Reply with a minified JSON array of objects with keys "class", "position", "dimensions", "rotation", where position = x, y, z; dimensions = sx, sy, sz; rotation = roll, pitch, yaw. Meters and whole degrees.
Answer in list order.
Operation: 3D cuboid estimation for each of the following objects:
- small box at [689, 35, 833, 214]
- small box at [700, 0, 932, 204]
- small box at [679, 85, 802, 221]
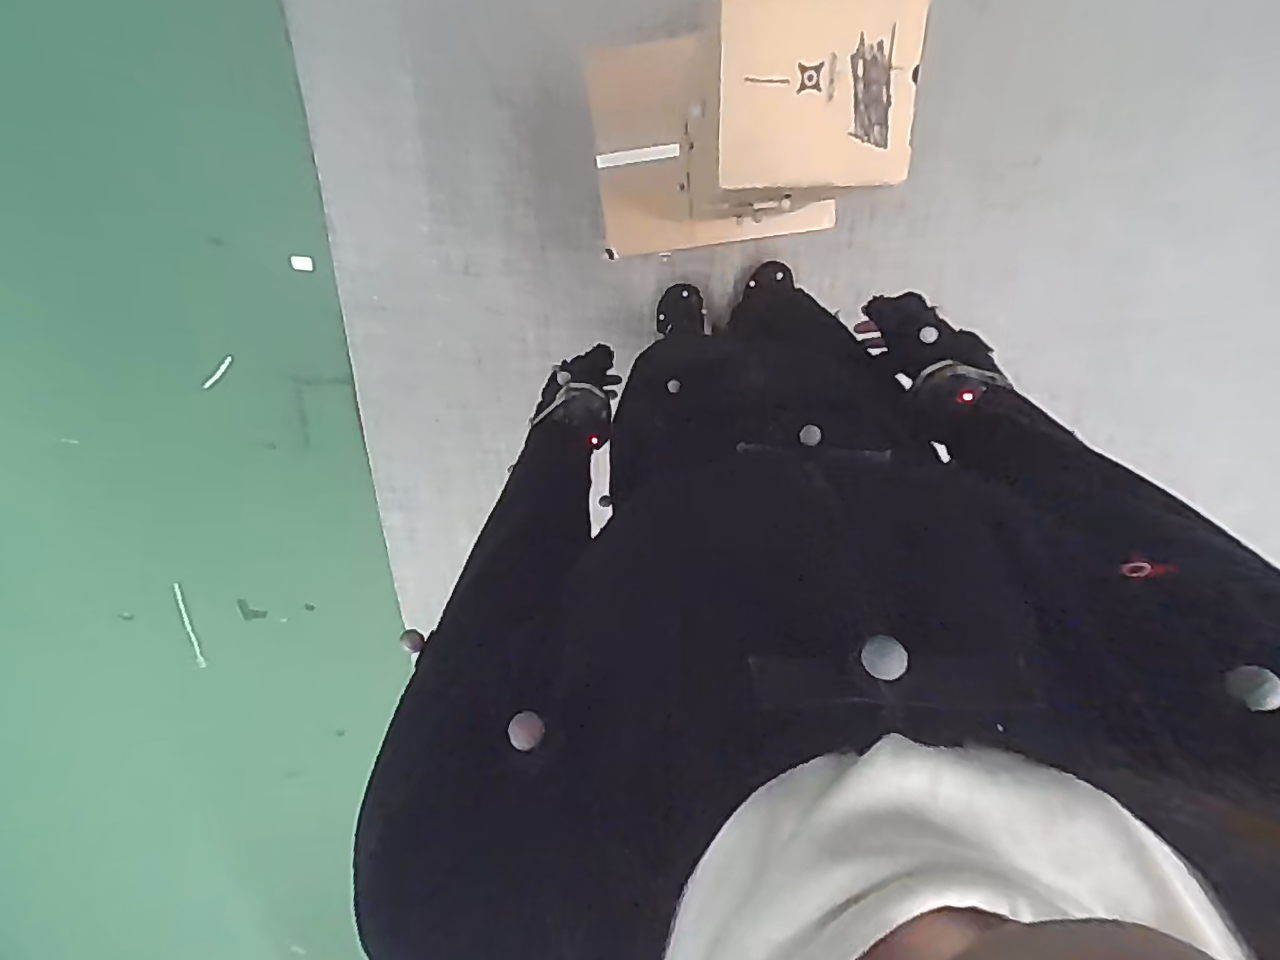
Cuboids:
[{"class":"small box","position":[0.152,-0.445,0.694],"dimensions":[0.168,0.176,0.179],"rotation":[-4,114,3]},{"class":"small box","position":[0.157,-0.377,0.542],"dimensions":[0.179,0.176,0.168],"rotation":[-1,113,2]},{"class":"small box","position":[0.153,-0.504,0.845],"dimensions":[0.179,0.176,0.168],"rotation":[-4,113,1]}]
